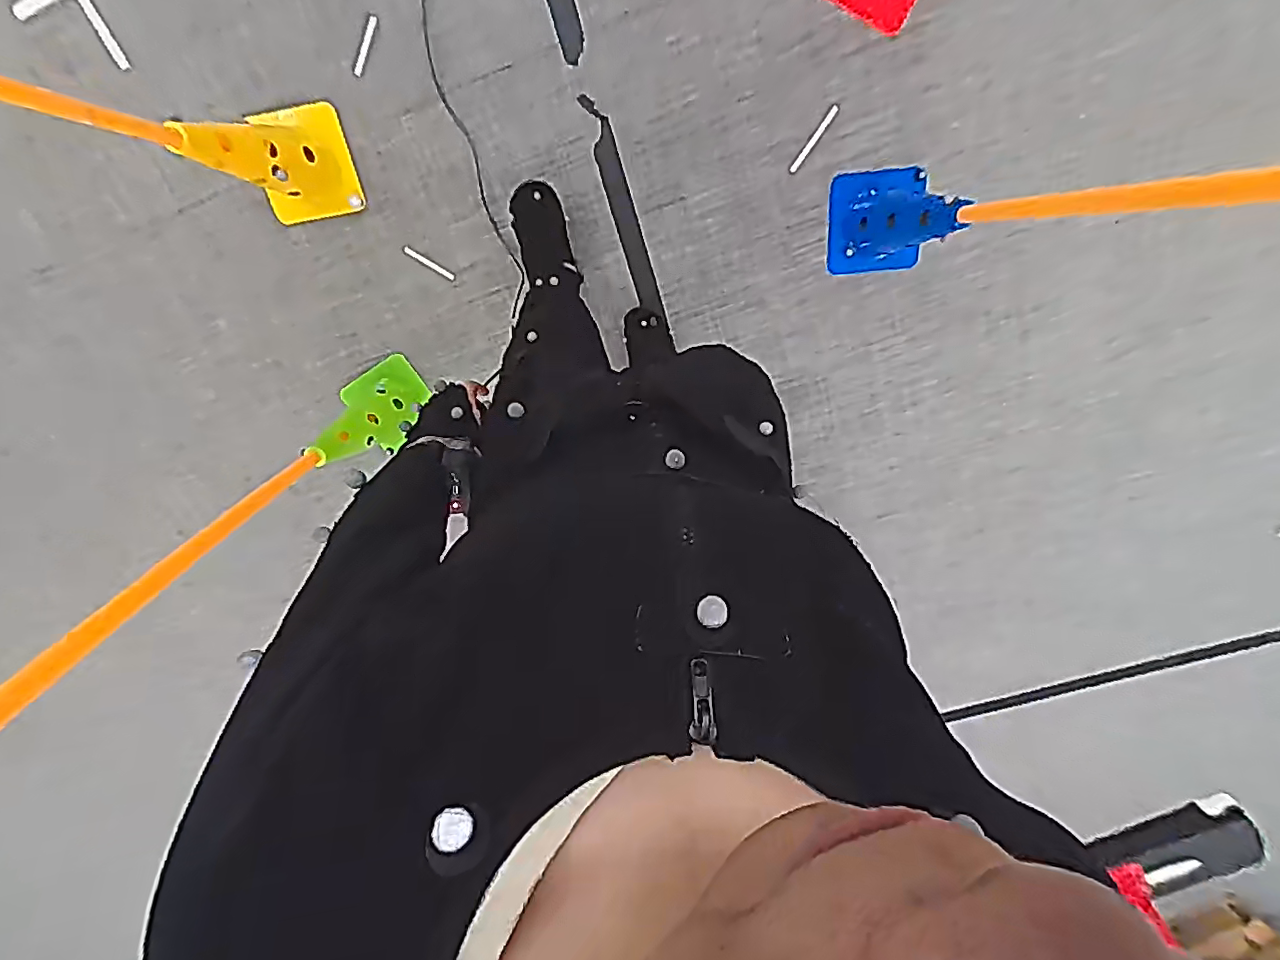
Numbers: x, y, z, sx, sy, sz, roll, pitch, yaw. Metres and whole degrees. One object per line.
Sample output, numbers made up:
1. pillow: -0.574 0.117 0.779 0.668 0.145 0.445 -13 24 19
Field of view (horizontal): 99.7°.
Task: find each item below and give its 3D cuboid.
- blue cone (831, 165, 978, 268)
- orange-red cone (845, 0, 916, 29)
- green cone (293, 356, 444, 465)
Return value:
1. blue cone: 0.501 -0.496 1.001 0.193 0.380 0.192 -3 112 2
2. orange-red cone: 0.439 -0.895 0.817 0.198 0.360 0.199 25 112 -9
3. green cone: -0.605 -0.109 1.149 0.200 0.368 0.202 -30 108 12
